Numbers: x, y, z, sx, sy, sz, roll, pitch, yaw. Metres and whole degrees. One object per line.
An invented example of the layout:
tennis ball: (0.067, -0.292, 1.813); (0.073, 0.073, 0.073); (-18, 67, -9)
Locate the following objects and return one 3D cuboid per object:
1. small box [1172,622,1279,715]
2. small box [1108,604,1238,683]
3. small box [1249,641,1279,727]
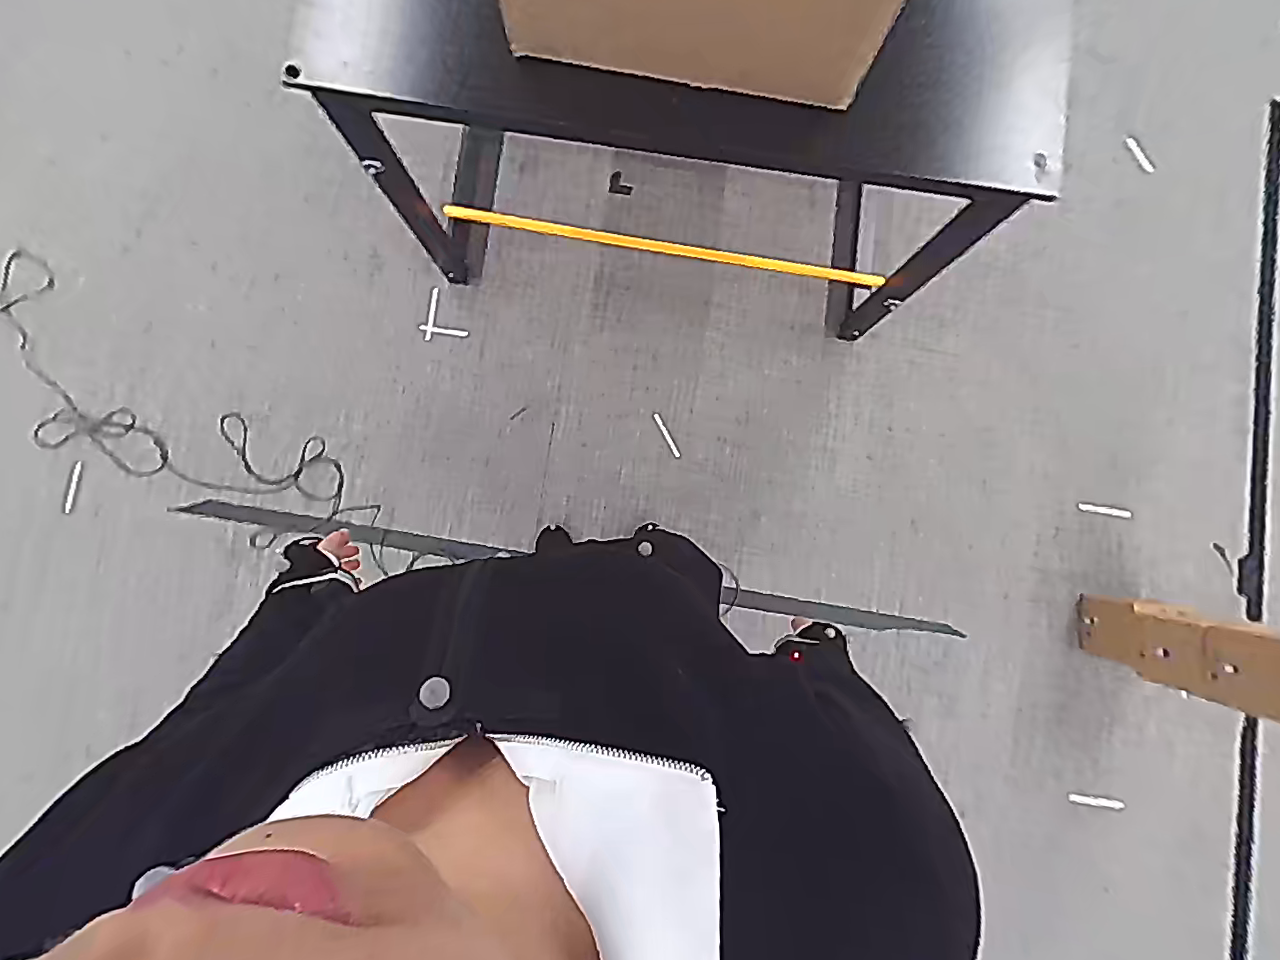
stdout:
small box: (1.345, 0.416, 1.206); (0.179, 0.176, 0.168); (1, 86, -1)
small box: (1.343, 0.410, 1.370); (0.179, 0.176, 0.168); (2, 85, 0)
small box: (1.352, 0.413, 1.040); (0.179, 0.176, 0.168); (6, 85, -1)
